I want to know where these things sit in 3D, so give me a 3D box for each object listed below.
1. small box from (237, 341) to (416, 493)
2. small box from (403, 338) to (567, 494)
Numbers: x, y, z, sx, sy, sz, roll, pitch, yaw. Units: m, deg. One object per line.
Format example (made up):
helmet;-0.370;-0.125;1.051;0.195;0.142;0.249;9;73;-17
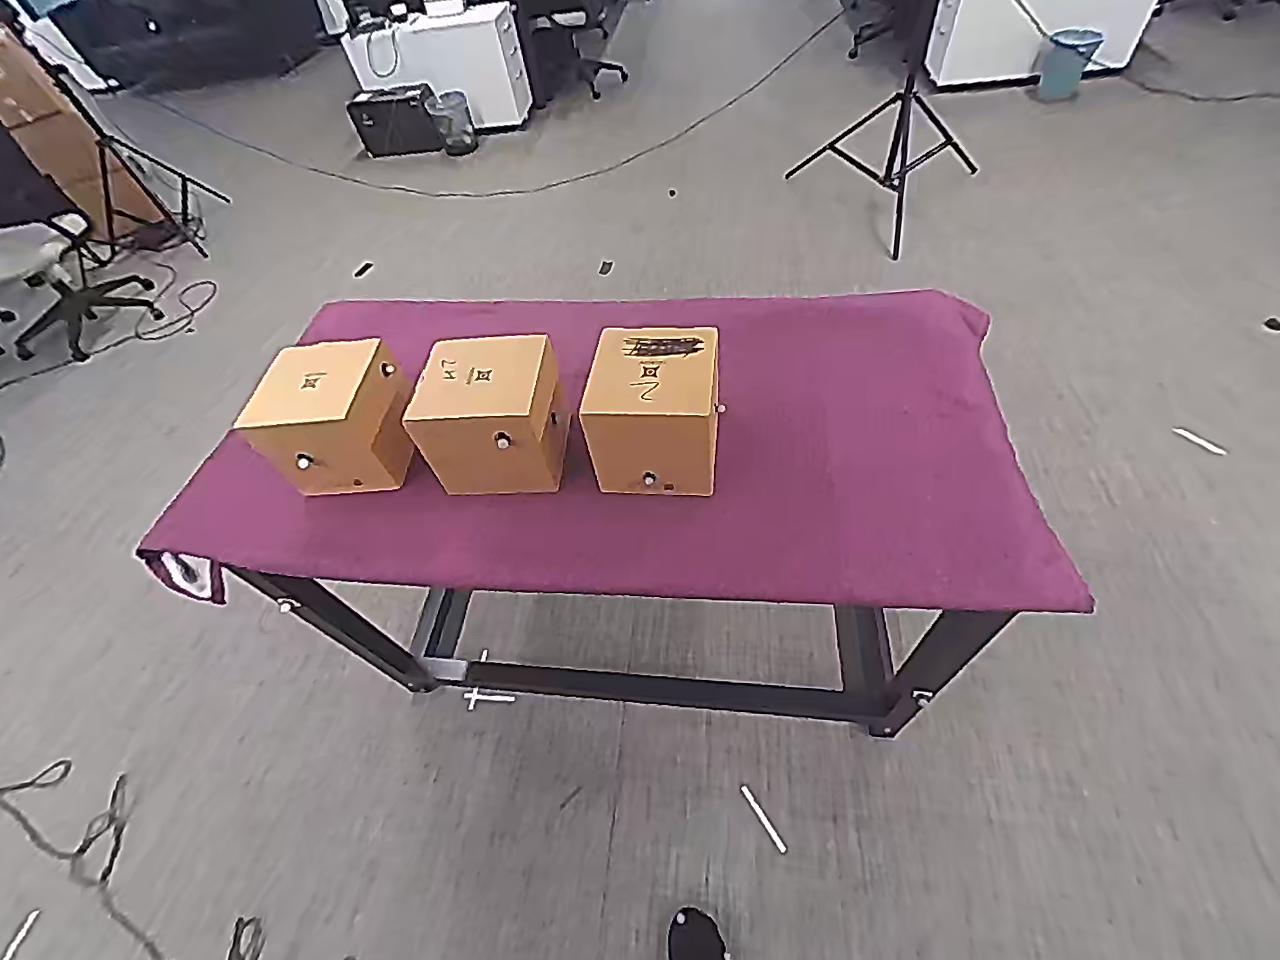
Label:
small box;-0.468;-0.091;0.852;0.168;0.176;0.179;-5;51;5
small box;-0.215;-0.091;0.811;0.179;0.176;0.168;-2;51;6
